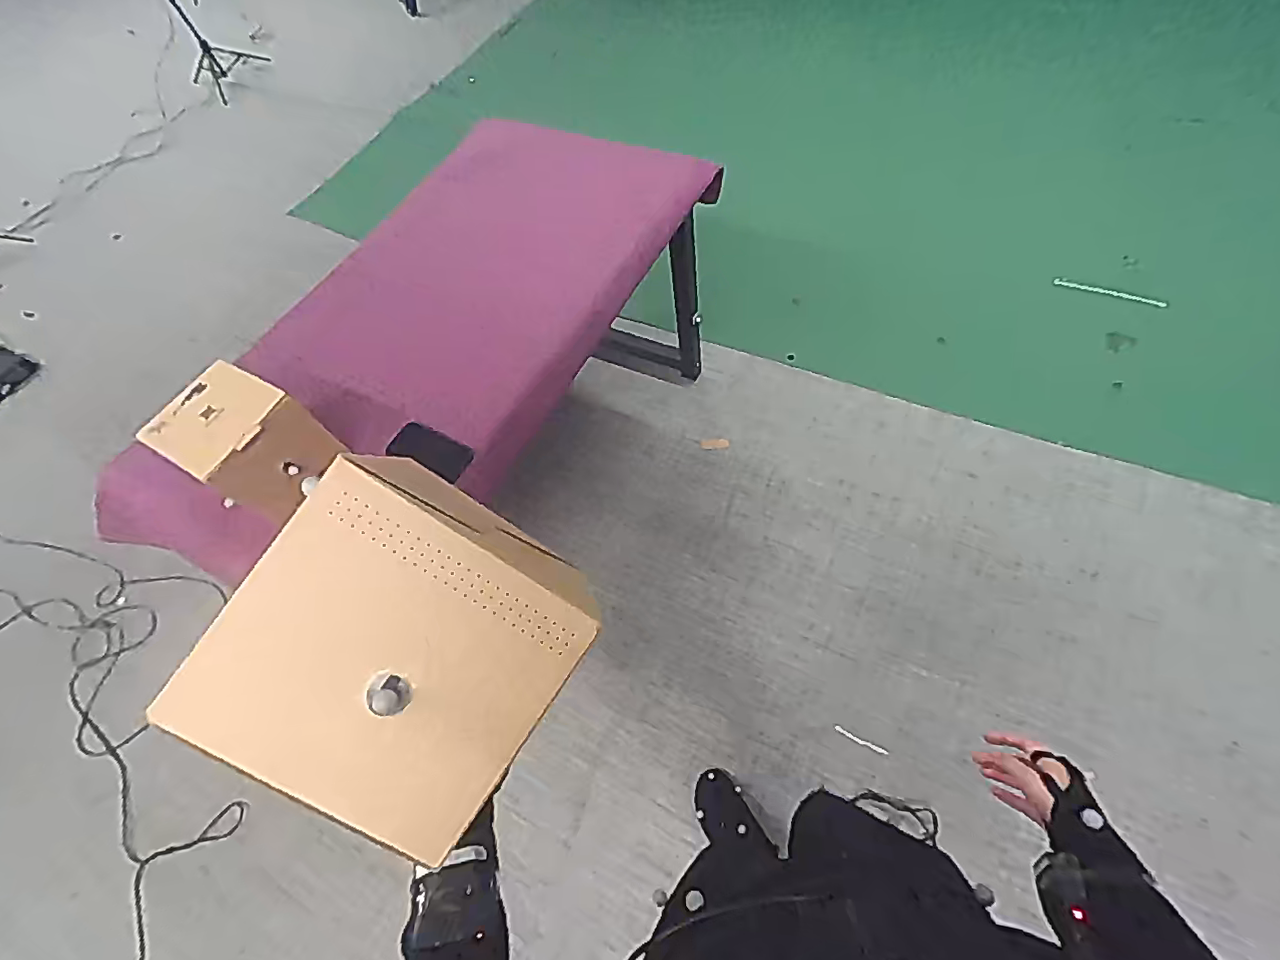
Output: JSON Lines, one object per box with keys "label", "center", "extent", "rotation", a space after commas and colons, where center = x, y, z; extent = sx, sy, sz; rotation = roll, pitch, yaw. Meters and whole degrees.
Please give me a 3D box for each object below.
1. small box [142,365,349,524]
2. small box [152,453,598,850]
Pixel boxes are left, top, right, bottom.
{"label": "small box", "center": [-0.622, -0.050, 0.877], "extent": [0.179, 0.176, 0.168], "rotation": [25, 67, 20]}
{"label": "small box", "center": [-0.152, 0.092, 0.375], "extent": [0.179, 0.168, 0.176], "rotation": [34, 86, -8]}
